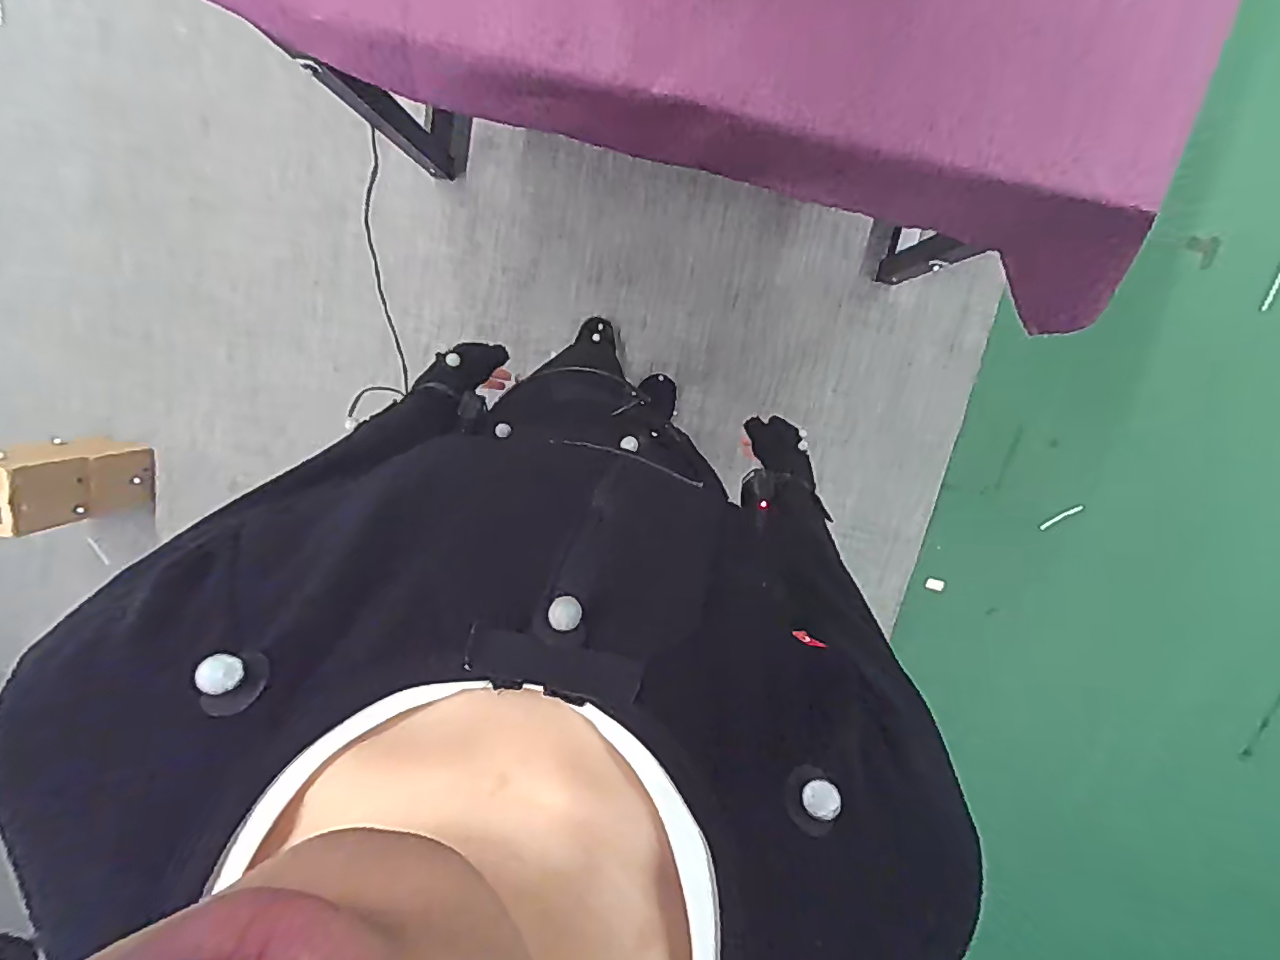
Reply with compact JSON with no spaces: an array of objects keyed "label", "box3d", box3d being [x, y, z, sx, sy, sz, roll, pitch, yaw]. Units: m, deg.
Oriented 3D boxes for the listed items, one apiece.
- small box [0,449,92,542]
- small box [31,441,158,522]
[{"label":"small box","box3d":[-1.451,0.029,1.272,0.179,0.176,0.168,11,102,0]},{"label":"small box","box3d":[-1.439,-0.003,1.433,0.179,0.176,0.168,11,103,-1]}]
